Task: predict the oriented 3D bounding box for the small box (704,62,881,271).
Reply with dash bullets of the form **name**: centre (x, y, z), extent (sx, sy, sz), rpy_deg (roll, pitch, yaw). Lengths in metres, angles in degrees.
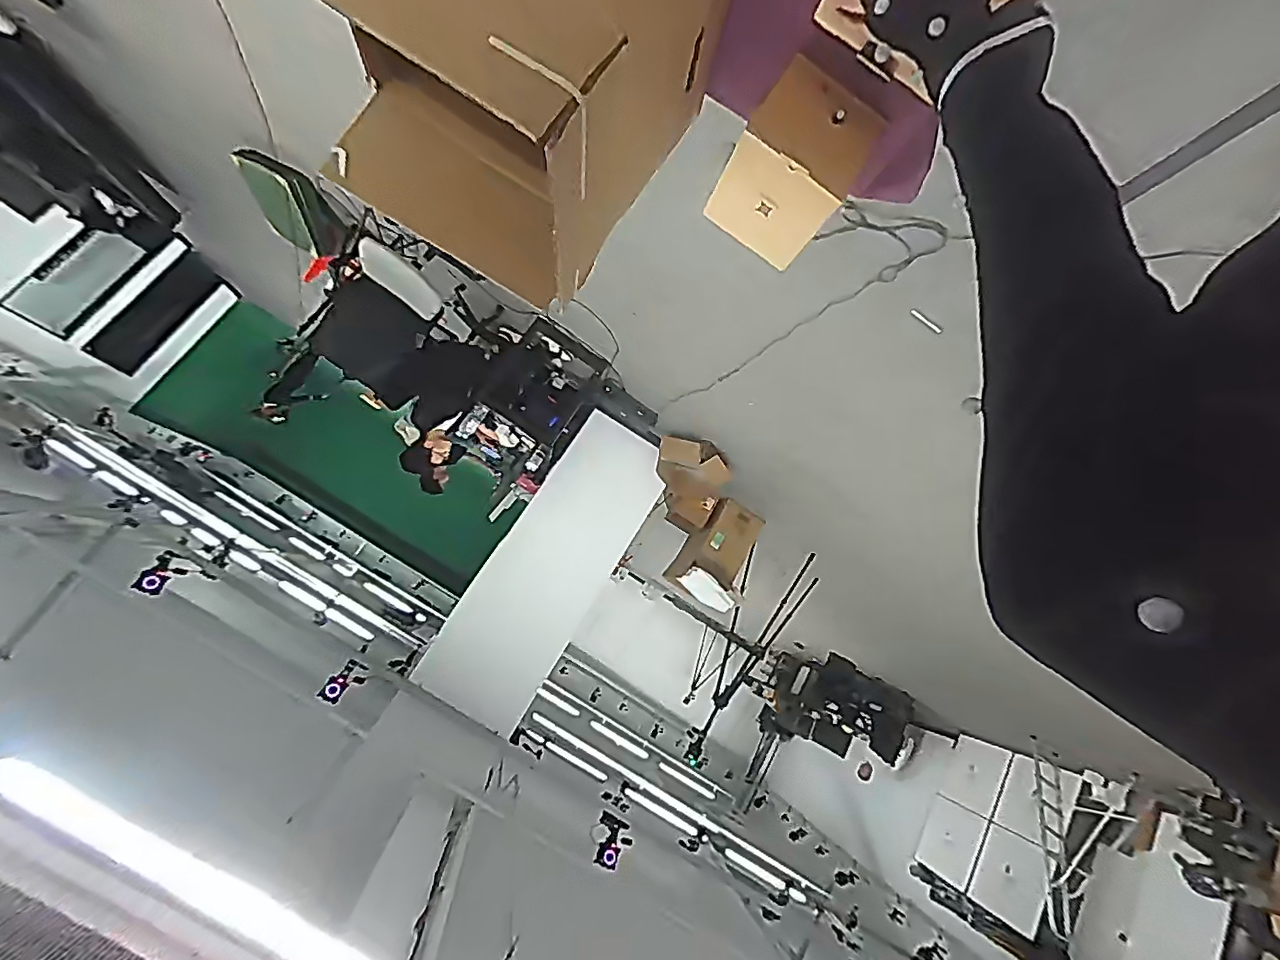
- **small box**: centre (0.230, -0.468, 0.825), extent (0.168, 0.176, 0.179), rpy_deg (34, 164, -4)
